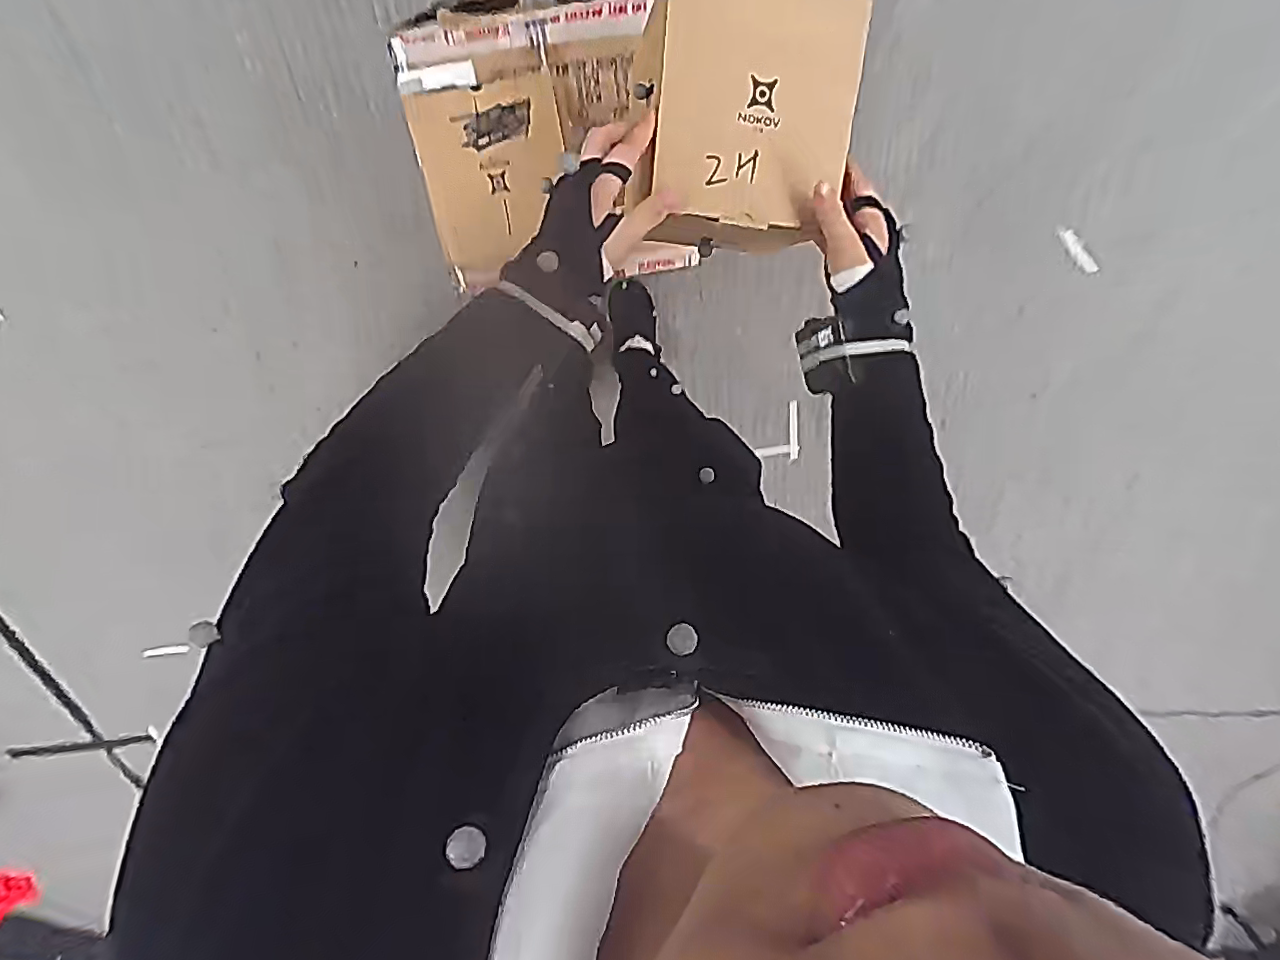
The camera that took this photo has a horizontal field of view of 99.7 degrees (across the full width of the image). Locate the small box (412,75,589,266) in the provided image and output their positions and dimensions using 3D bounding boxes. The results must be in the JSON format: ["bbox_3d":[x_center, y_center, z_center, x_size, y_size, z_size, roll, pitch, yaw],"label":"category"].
[{"bbox_3d":[-0.161,-0.390,0.694,0.168,0.176,0.179,-9,121,2],"label":"small box"}]

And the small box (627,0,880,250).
[{"bbox_3d":[0.084,-0.322,0.498,0.168,0.176,0.179,3,108,-10],"label":"small box"}]
